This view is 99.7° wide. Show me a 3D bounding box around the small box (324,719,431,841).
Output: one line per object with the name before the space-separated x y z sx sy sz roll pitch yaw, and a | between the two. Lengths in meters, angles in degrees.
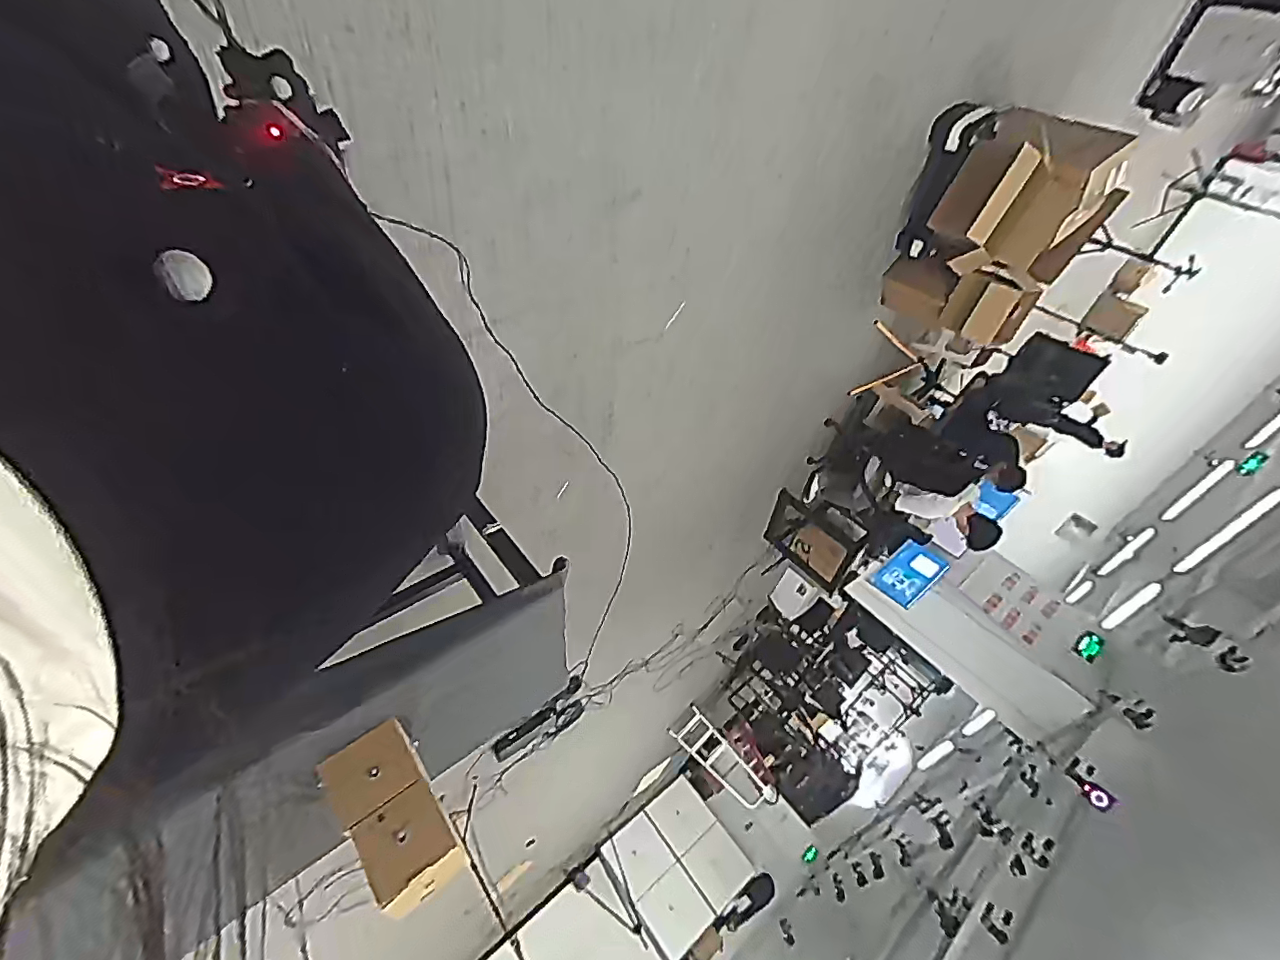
small box | -0.598 0.692 1.243 0.179 0.176 0.168 -30 146 -25

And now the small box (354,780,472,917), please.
small box | -0.489 0.789 1.170 0.168 0.176 0.179 -29 145 -29
